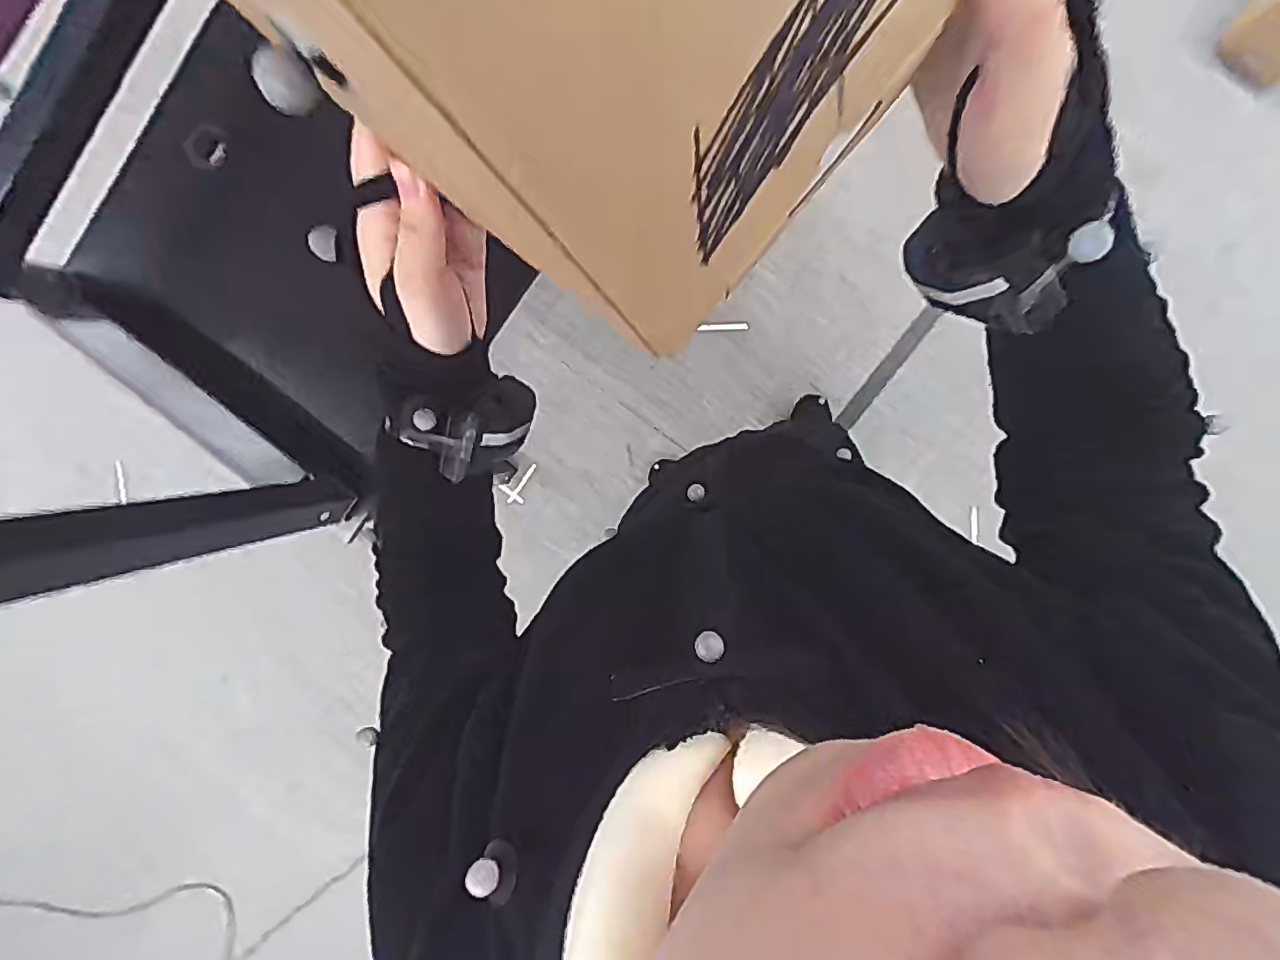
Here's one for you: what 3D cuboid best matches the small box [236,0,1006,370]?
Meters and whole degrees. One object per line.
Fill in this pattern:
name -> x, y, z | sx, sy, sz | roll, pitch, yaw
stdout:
small box -> -0.020, -0.163, 0.128 | 0.176, 0.179, 0.168 | 43, 96, 26

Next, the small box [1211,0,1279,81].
small box -> 1.456, -1.036, 1.192 | 0.179, 0.176, 0.168 | 39, 97, 0
